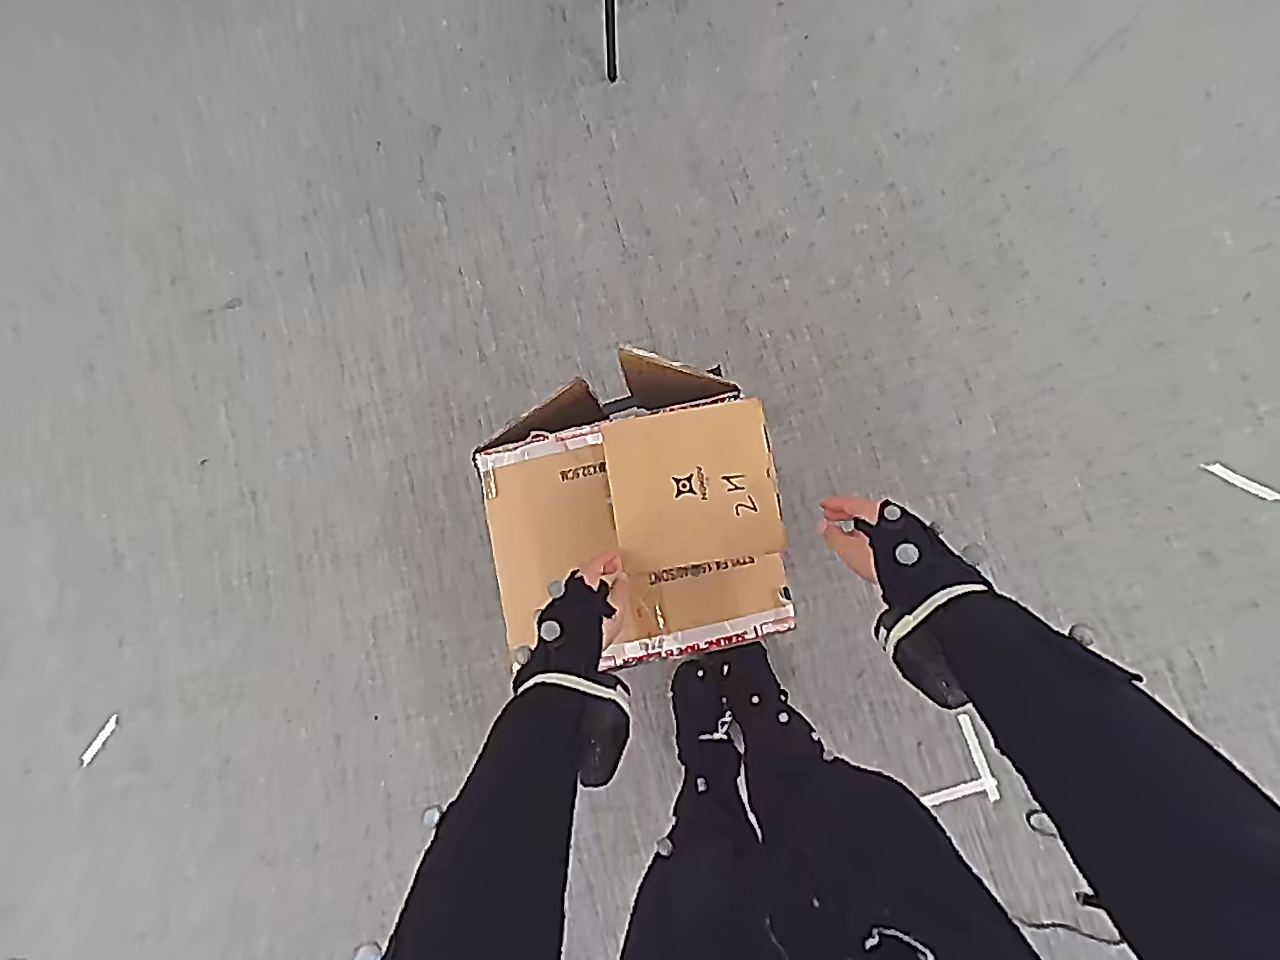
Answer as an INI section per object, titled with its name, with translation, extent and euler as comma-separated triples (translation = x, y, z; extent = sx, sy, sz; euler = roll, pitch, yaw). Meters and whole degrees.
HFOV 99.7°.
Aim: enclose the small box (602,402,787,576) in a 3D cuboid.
[small box]
translation = 0.061, 0.018, 0.647
extent = 0.179, 0.176, 0.168
euler = -9, 85, 2
